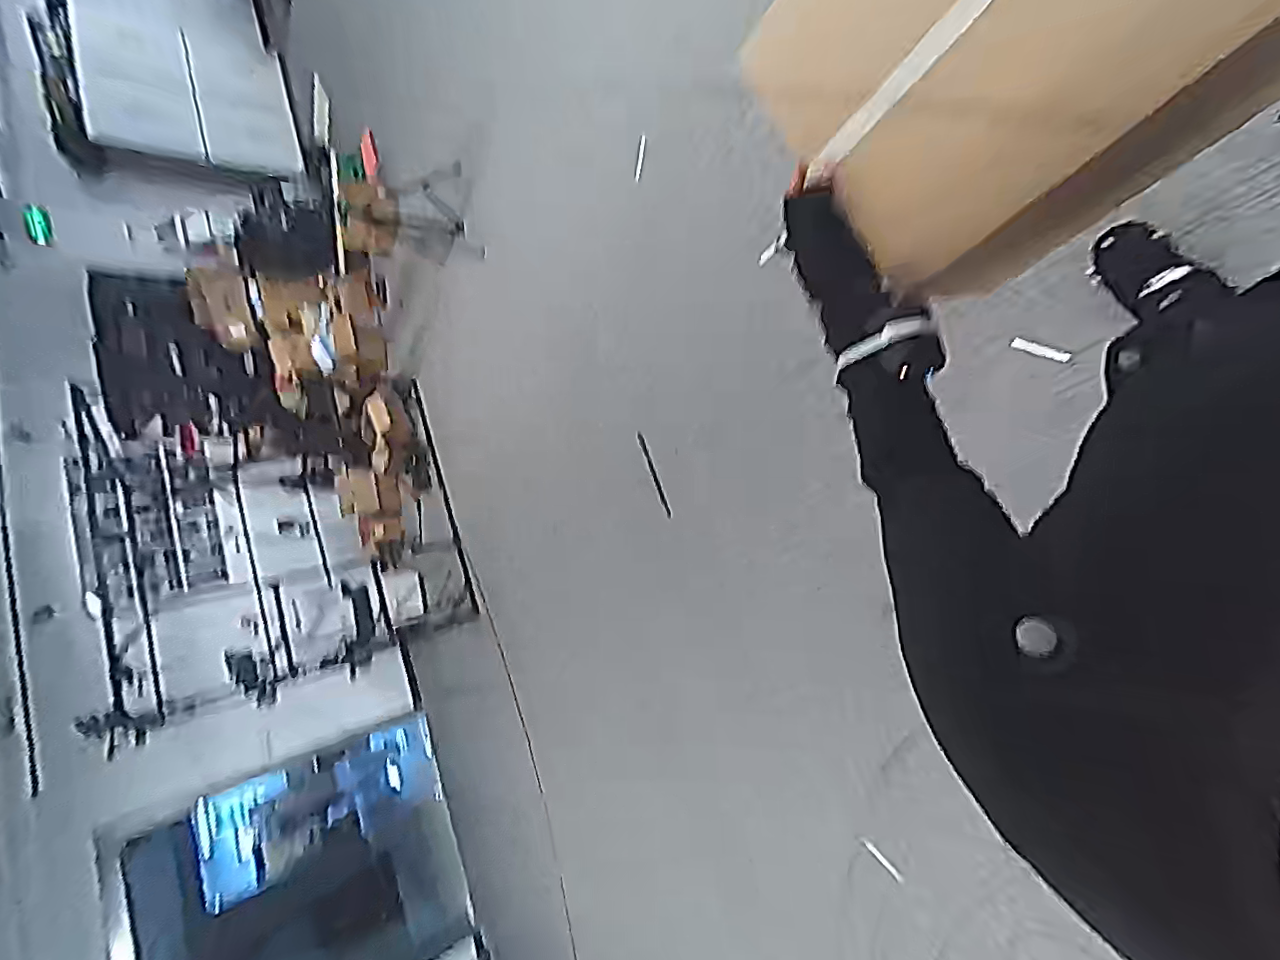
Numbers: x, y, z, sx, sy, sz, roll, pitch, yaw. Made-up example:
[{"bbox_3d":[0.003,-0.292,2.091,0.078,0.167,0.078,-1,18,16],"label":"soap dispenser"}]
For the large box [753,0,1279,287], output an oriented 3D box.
[{"bbox_3d":[0.397,-0.439,0.510,0.408,0.320,0.320,-37,78,45],"label":"large box"}]
